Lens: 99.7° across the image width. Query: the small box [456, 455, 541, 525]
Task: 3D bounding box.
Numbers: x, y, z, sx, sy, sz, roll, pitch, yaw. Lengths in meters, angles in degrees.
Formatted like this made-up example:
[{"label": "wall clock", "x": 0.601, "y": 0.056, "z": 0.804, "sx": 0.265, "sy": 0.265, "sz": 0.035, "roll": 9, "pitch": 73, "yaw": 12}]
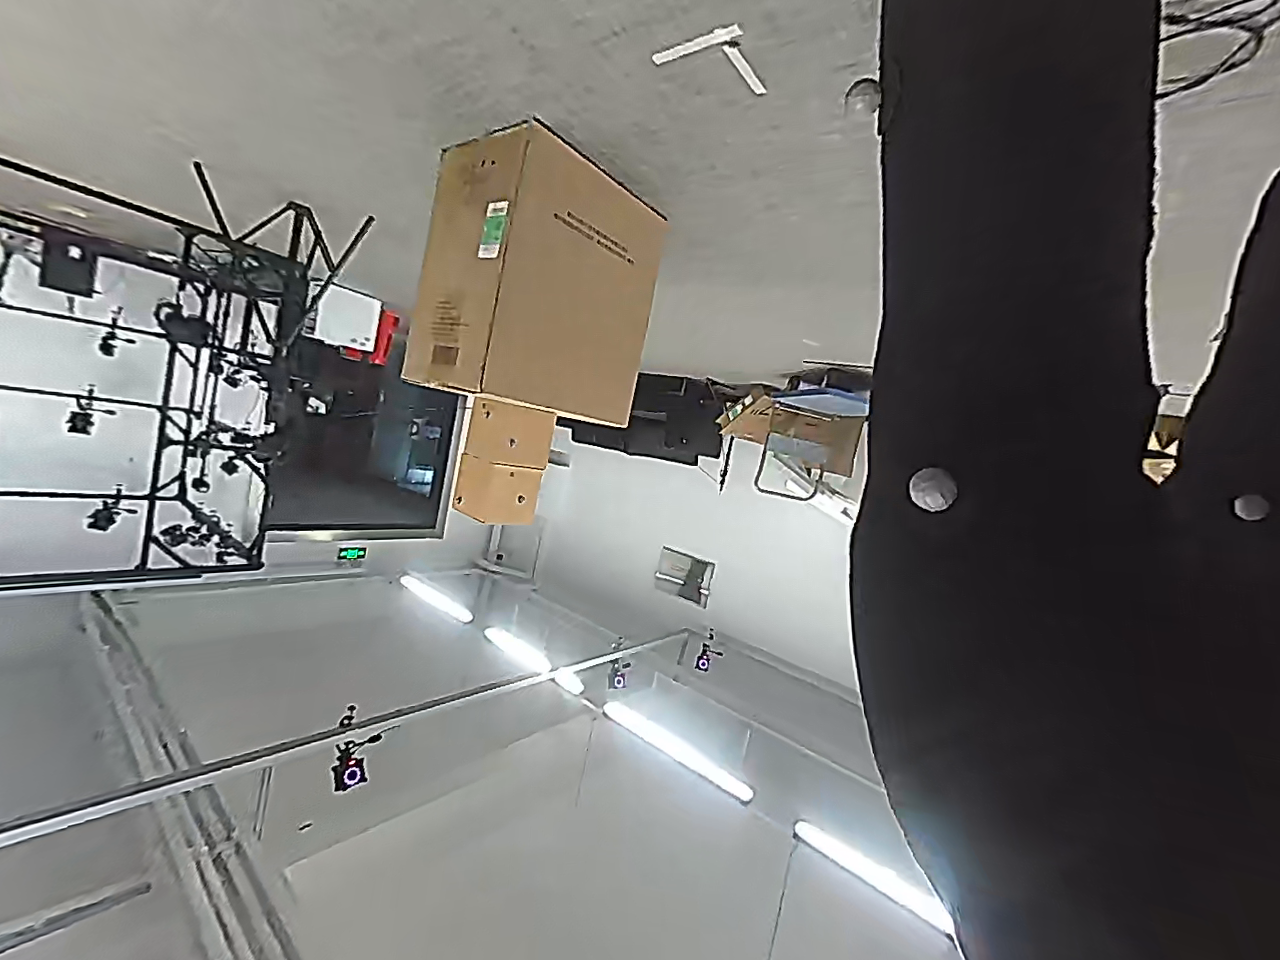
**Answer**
[{"label": "small box", "x": -0.400, "y": 0.025, "z": 1.546, "sx": 0.179, "sy": 0.176, "sz": 0.168, "roll": 16, "pitch": -173, "yaw": 41}]
